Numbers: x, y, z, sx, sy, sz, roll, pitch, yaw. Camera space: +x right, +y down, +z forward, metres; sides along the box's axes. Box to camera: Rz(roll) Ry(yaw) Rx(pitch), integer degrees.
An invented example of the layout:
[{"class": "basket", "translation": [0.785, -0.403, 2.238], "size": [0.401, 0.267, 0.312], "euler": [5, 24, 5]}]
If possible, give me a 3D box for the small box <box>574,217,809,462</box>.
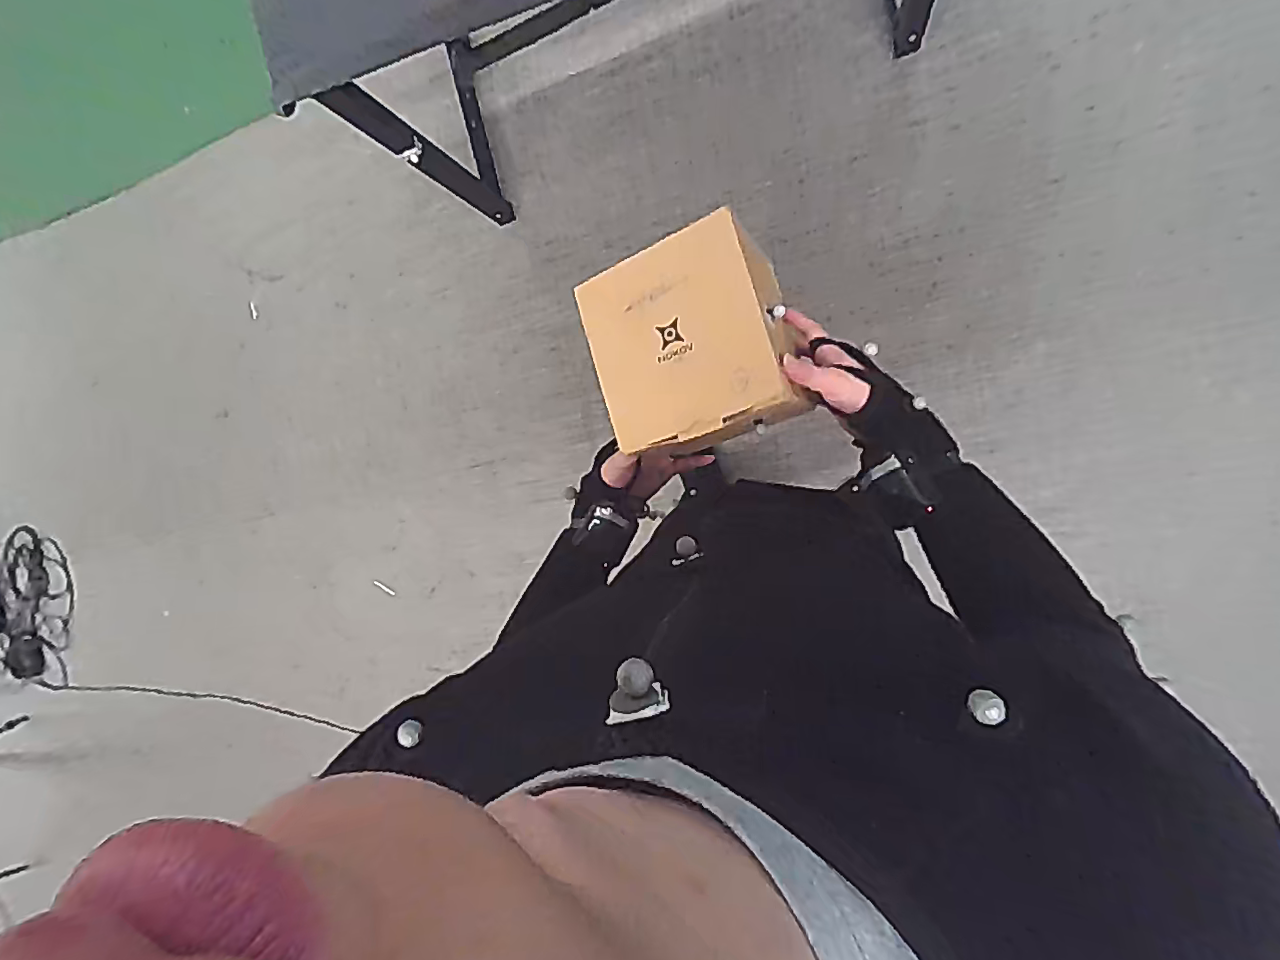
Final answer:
[{"class": "small box", "translation": [0.062, -0.126, 0.560], "size": [0.168, 0.176, 0.179], "euler": [-18, 84, 26]}]
